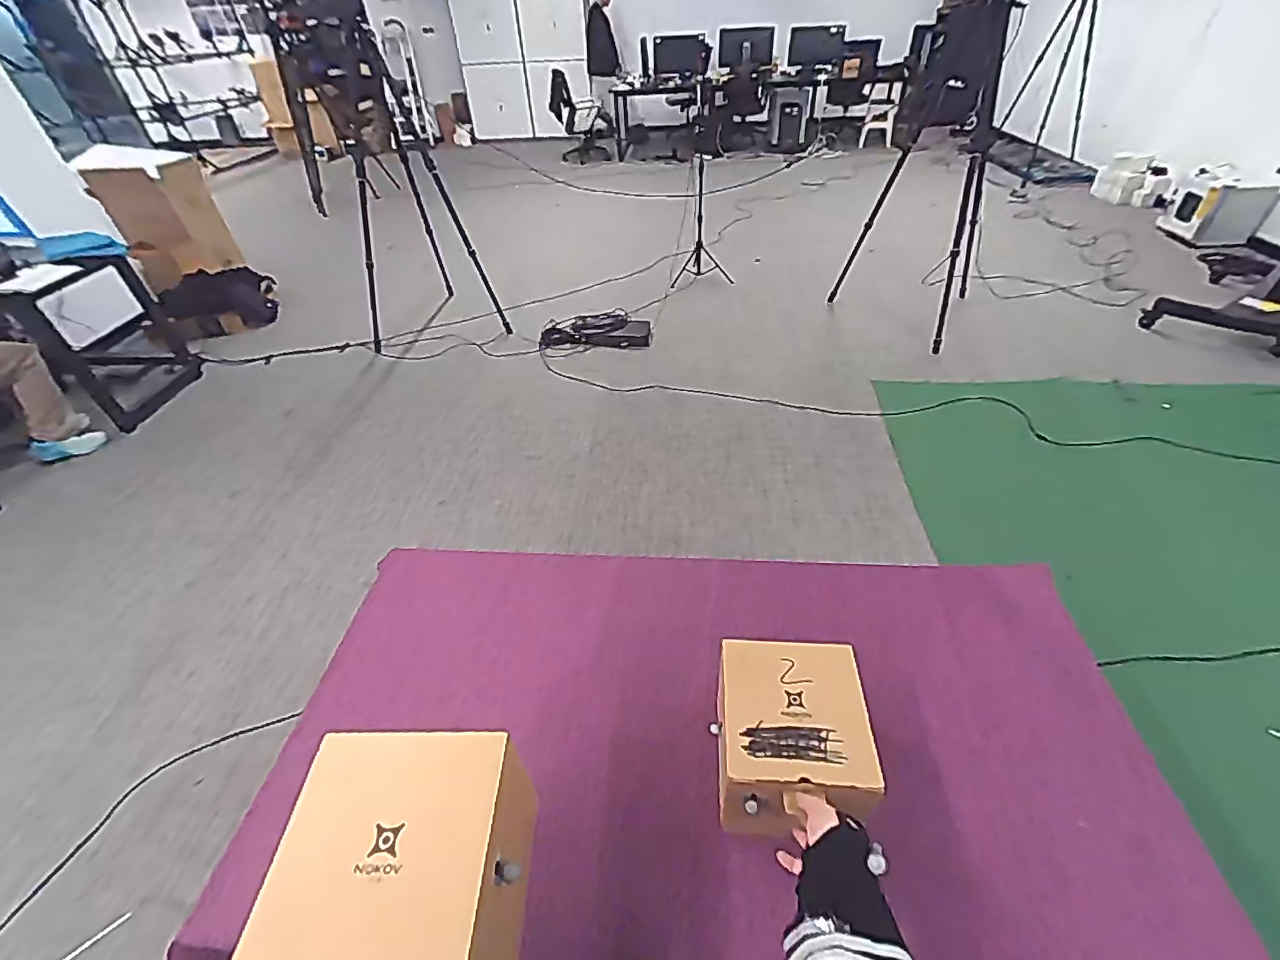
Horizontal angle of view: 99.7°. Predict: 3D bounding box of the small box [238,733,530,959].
[{"bbox_3d":[-0.200,0.350,0.486,0.168,0.176,0.179,-1,44,1],"label":"small box"}]
